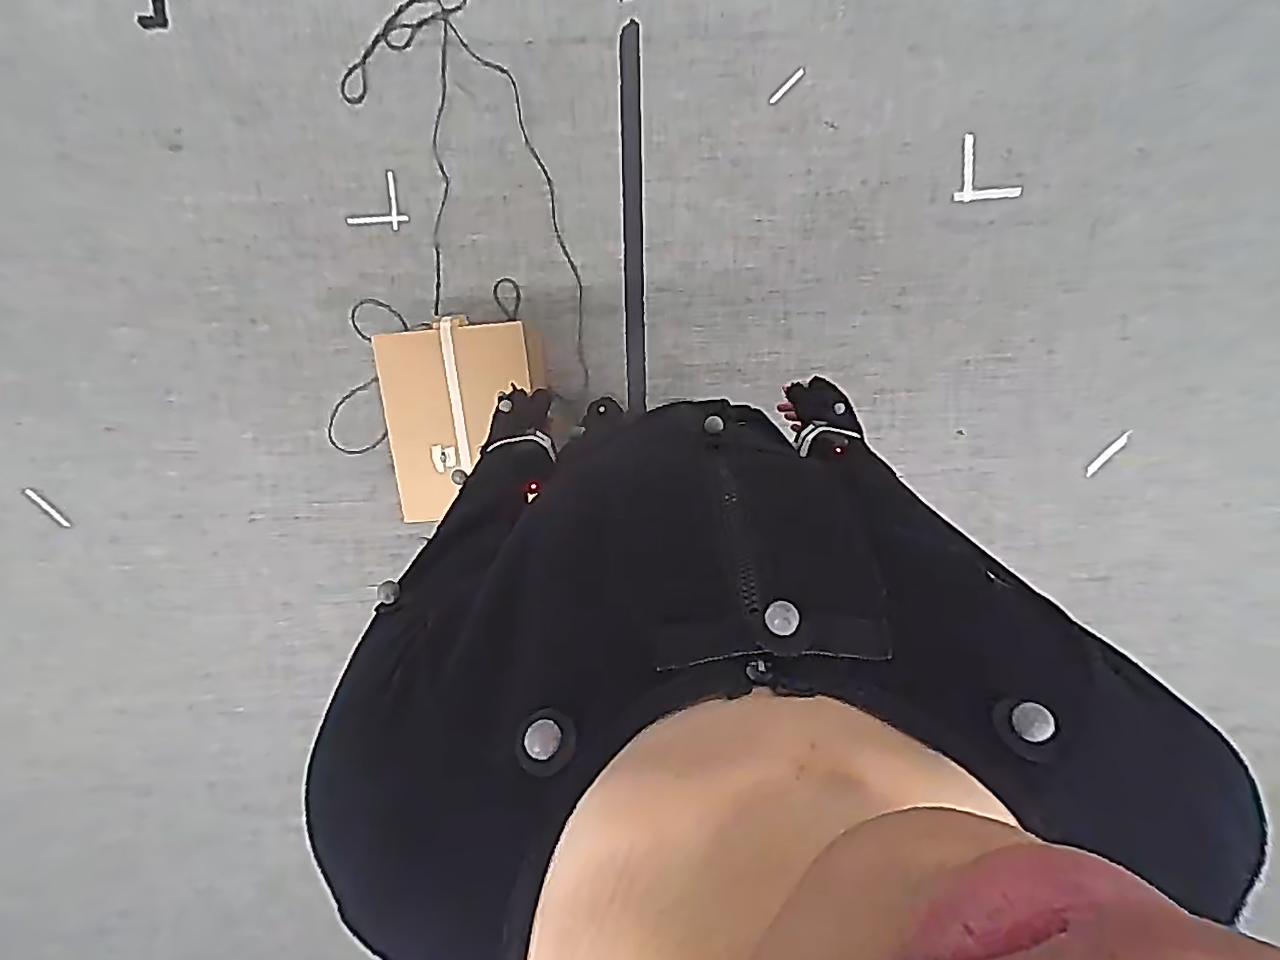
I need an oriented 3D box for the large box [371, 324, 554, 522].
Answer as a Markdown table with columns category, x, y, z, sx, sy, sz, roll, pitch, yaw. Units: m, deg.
| category | x | y | z | sx | sy | sz | roll | pitch | yaw |
| --- | --- | --- | --- | --- | --- | --- | --- | --- | --- |
| large box | -0.397 | -0.147 | 1.312 | 0.320 | 0.320 | 0.408 | -6 | 102 | -2 |
